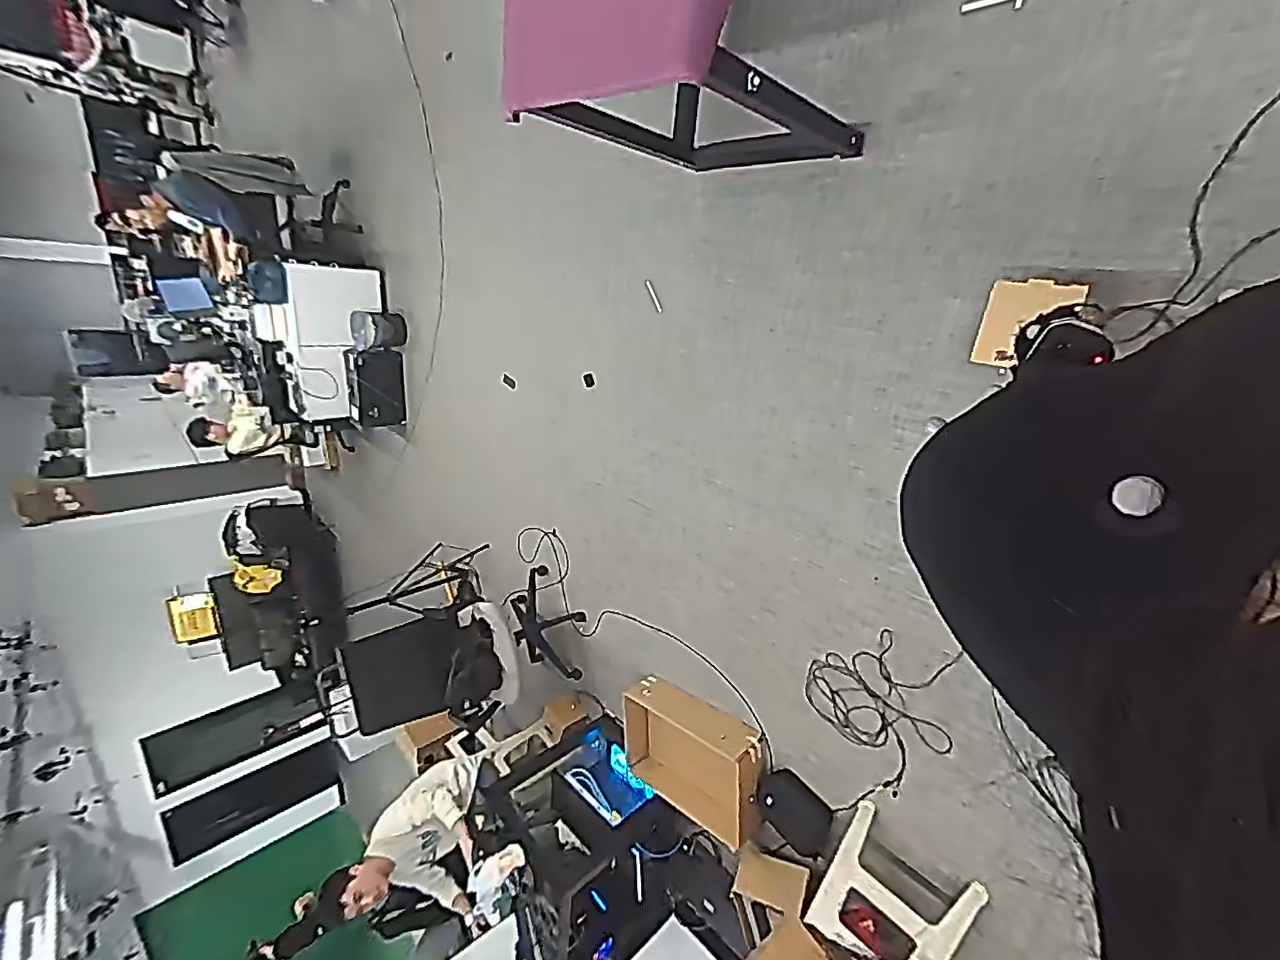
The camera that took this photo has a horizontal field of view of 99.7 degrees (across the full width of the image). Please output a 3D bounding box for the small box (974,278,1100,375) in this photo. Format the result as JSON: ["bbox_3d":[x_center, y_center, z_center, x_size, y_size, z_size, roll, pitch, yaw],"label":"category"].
[{"bbox_3d":[0.855,-0.327,1.161,0.168,0.176,0.179,25,115,41],"label":"small box"}]
